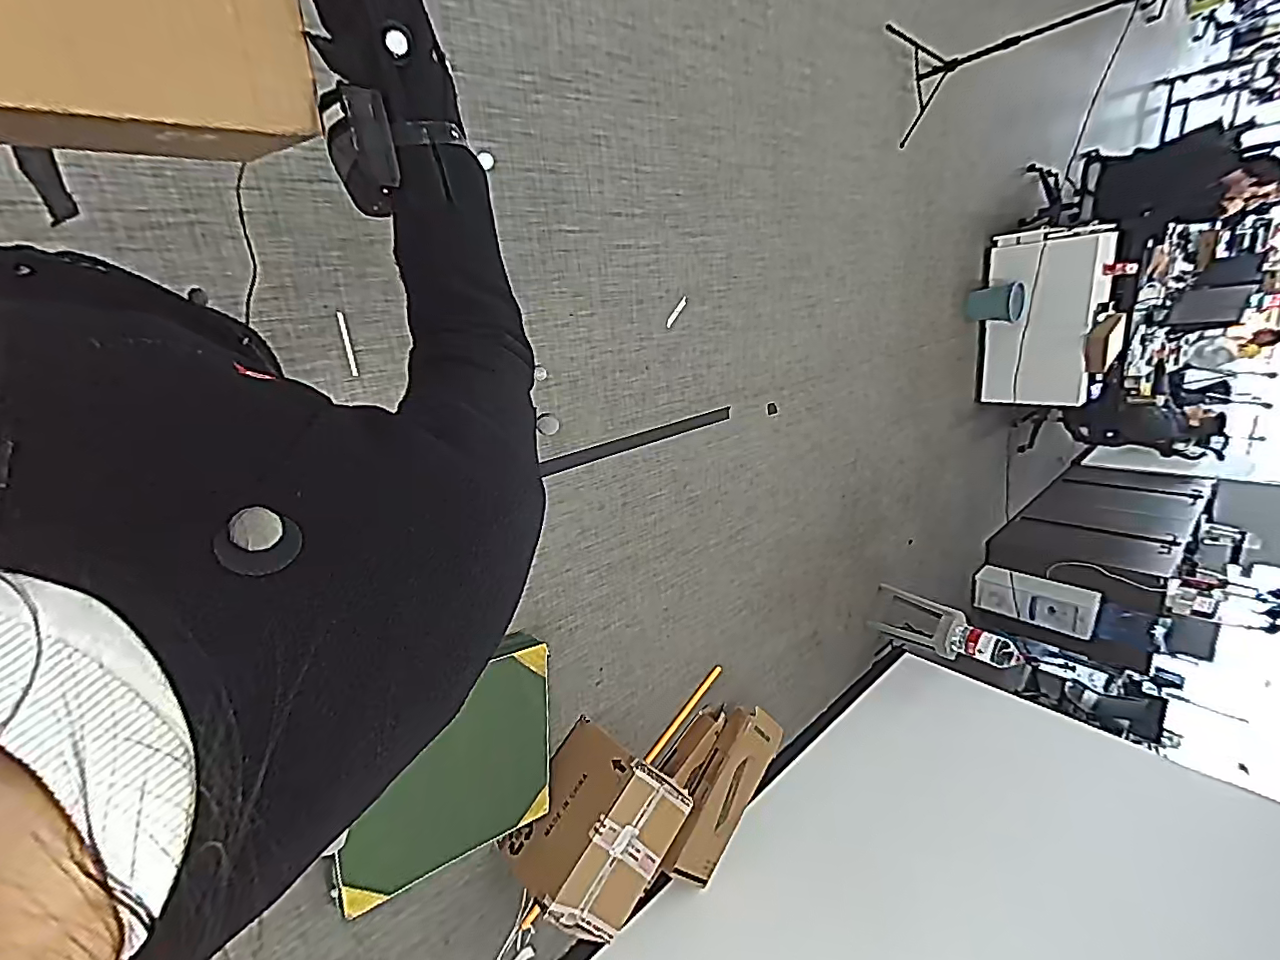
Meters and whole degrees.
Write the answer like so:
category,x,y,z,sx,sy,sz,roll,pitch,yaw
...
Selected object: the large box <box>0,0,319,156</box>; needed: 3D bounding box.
category,x,y,z,sx,sy,sz,roll,pitch,yaw
large box,-0.462,-0.367,0.283,0.408,0.320,0.320,-20,124,-36
